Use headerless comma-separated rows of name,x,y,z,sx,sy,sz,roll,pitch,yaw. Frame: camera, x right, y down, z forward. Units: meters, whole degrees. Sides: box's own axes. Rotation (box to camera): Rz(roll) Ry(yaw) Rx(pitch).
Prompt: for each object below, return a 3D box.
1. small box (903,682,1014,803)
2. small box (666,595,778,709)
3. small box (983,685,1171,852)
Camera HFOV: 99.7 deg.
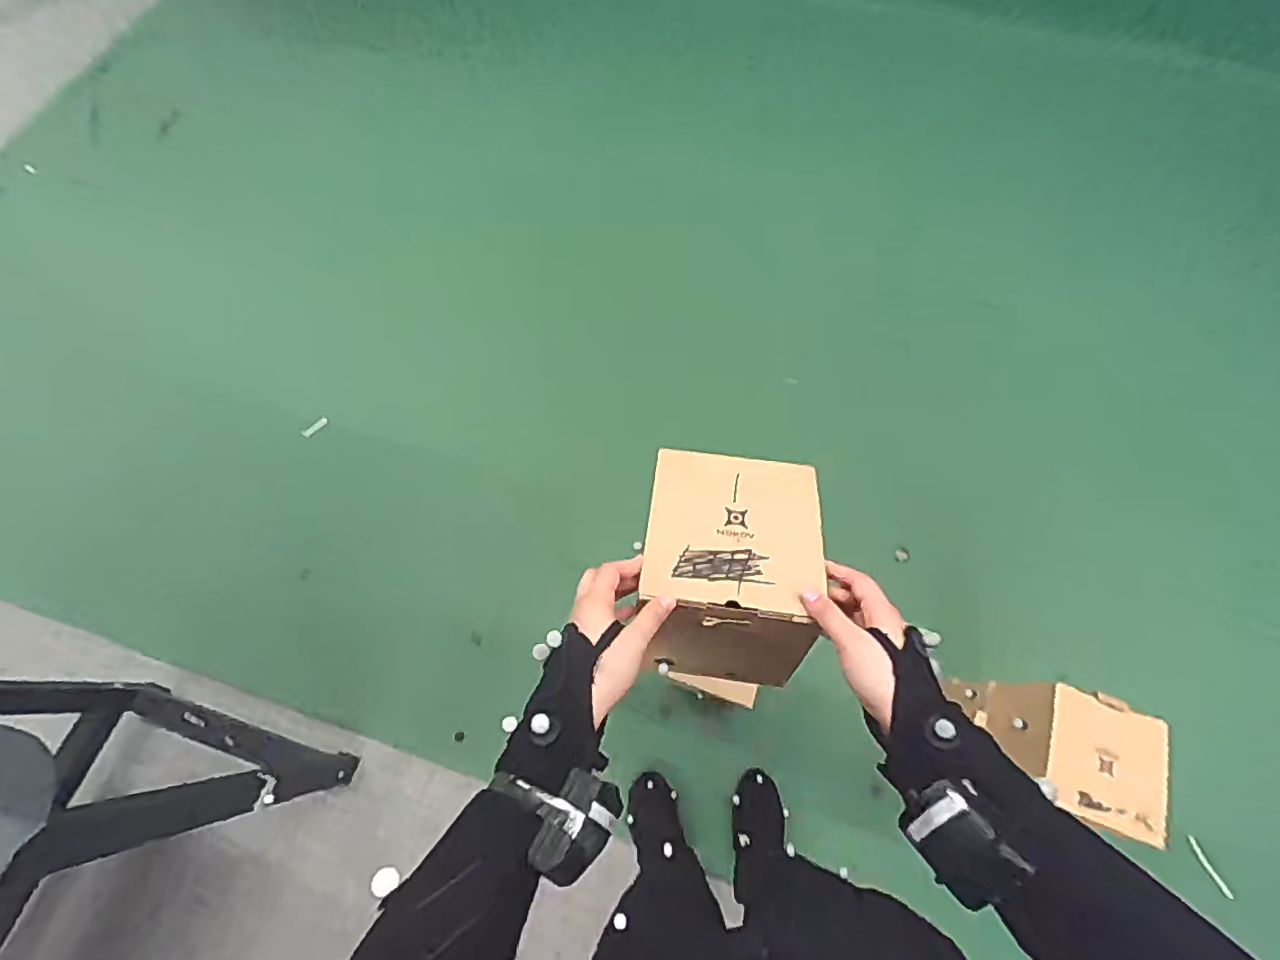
small box,0.702,0.560,1.176,0.168,0.176,0.179,24,71,10
small box,0.157,0.349,1.090,0.179,0.176,0.168,18,71,8
small box,0.688,0.446,0.867,0.168,0.176,0.179,21,70,7
